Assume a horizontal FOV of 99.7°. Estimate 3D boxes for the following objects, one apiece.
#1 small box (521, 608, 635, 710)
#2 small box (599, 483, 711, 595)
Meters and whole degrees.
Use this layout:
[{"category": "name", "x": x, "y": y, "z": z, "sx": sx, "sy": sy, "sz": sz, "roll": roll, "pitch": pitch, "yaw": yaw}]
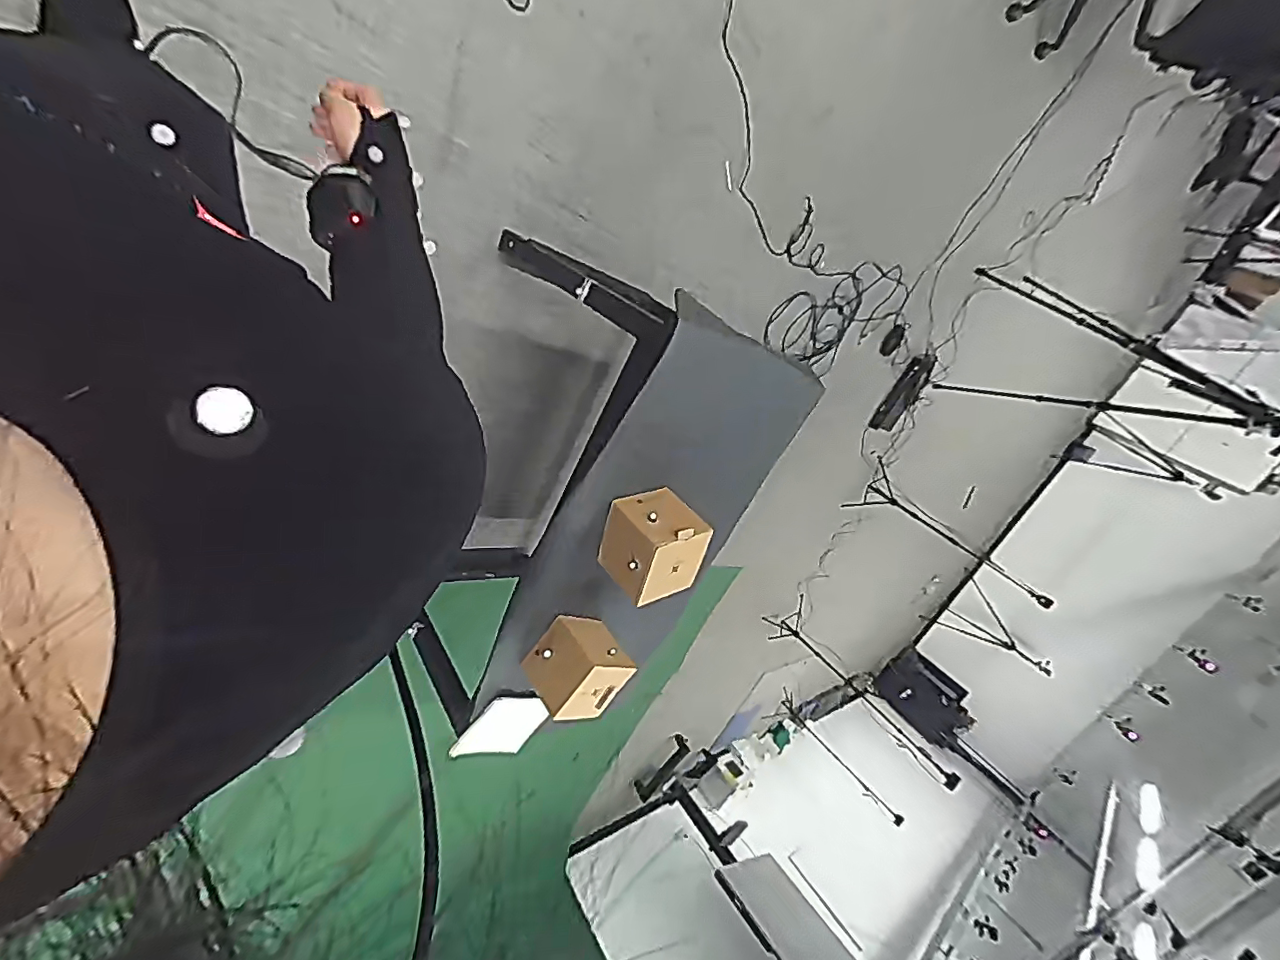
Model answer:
[{"category": "small box", "x": -0.152, "y": 0.433, "z": 1.318, "sx": 0.168, "sy": 0.176, "sz": 0.179, "roll": -53, "pitch": 143, "yaw": 7}, {"category": "small box", "x": 0.026, "y": 0.122, "z": 1.215, "sx": 0.168, "sy": 0.176, "sz": 0.179, "roll": -11, "pitch": 132, "yaw": -37}]
